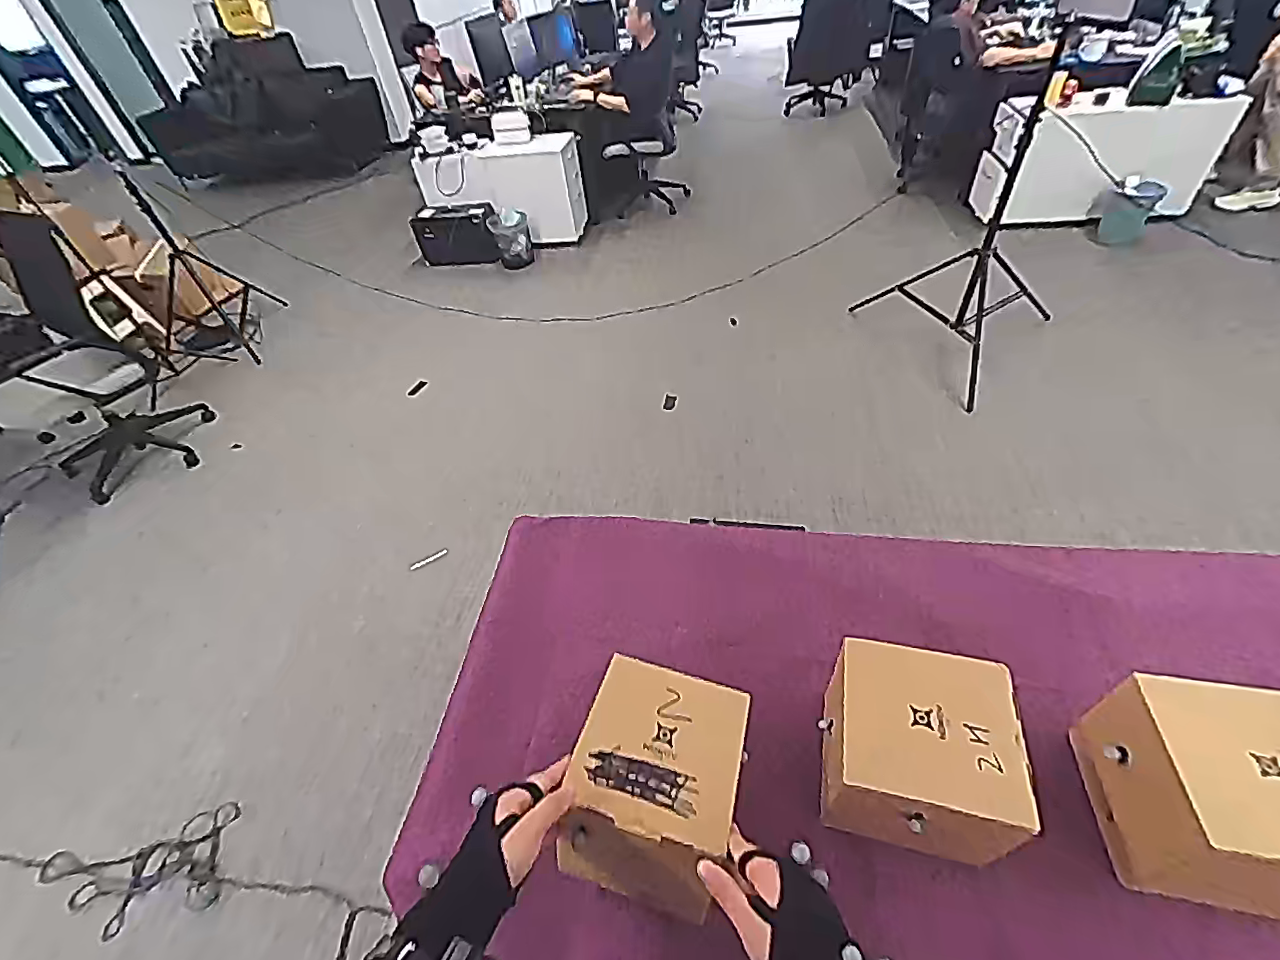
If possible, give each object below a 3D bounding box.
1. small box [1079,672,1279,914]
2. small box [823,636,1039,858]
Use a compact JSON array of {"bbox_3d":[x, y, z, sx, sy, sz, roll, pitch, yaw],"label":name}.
[{"bbox_3d":[0.606,0.327,0.565,0.179,0.176,0.168,4,44,12],"label":"small box"},{"bbox_3d":[0.313,0.308,0.624,0.179,0.176,0.168,7,47,15],"label":"small box"}]
